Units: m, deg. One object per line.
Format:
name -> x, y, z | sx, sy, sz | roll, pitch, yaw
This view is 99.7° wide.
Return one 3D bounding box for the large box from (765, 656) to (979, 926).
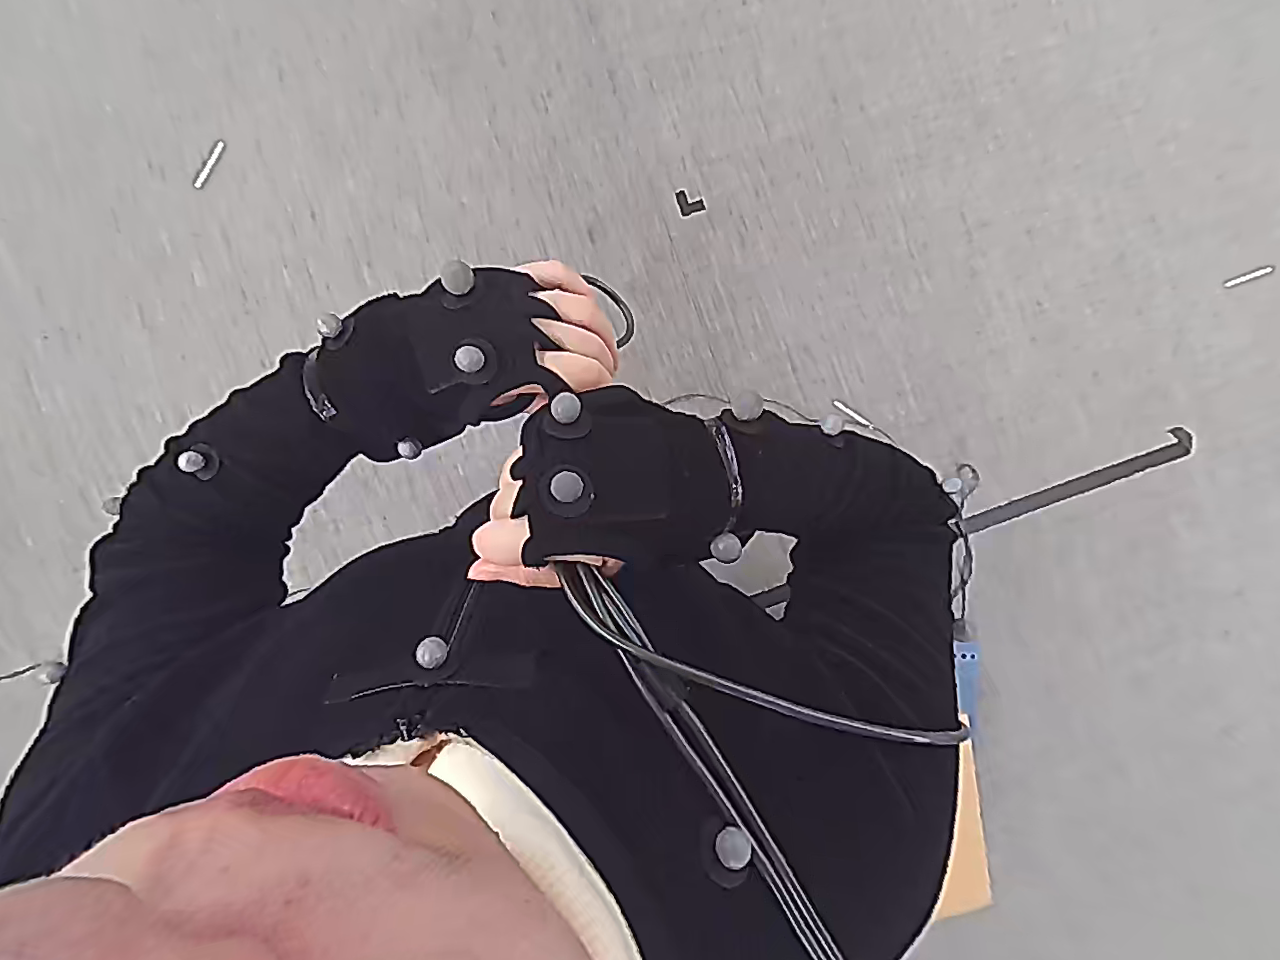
large box -> 0.501, 0.668, 1.228 | 0.320, 0.320, 0.408 | -8, 93, -3
